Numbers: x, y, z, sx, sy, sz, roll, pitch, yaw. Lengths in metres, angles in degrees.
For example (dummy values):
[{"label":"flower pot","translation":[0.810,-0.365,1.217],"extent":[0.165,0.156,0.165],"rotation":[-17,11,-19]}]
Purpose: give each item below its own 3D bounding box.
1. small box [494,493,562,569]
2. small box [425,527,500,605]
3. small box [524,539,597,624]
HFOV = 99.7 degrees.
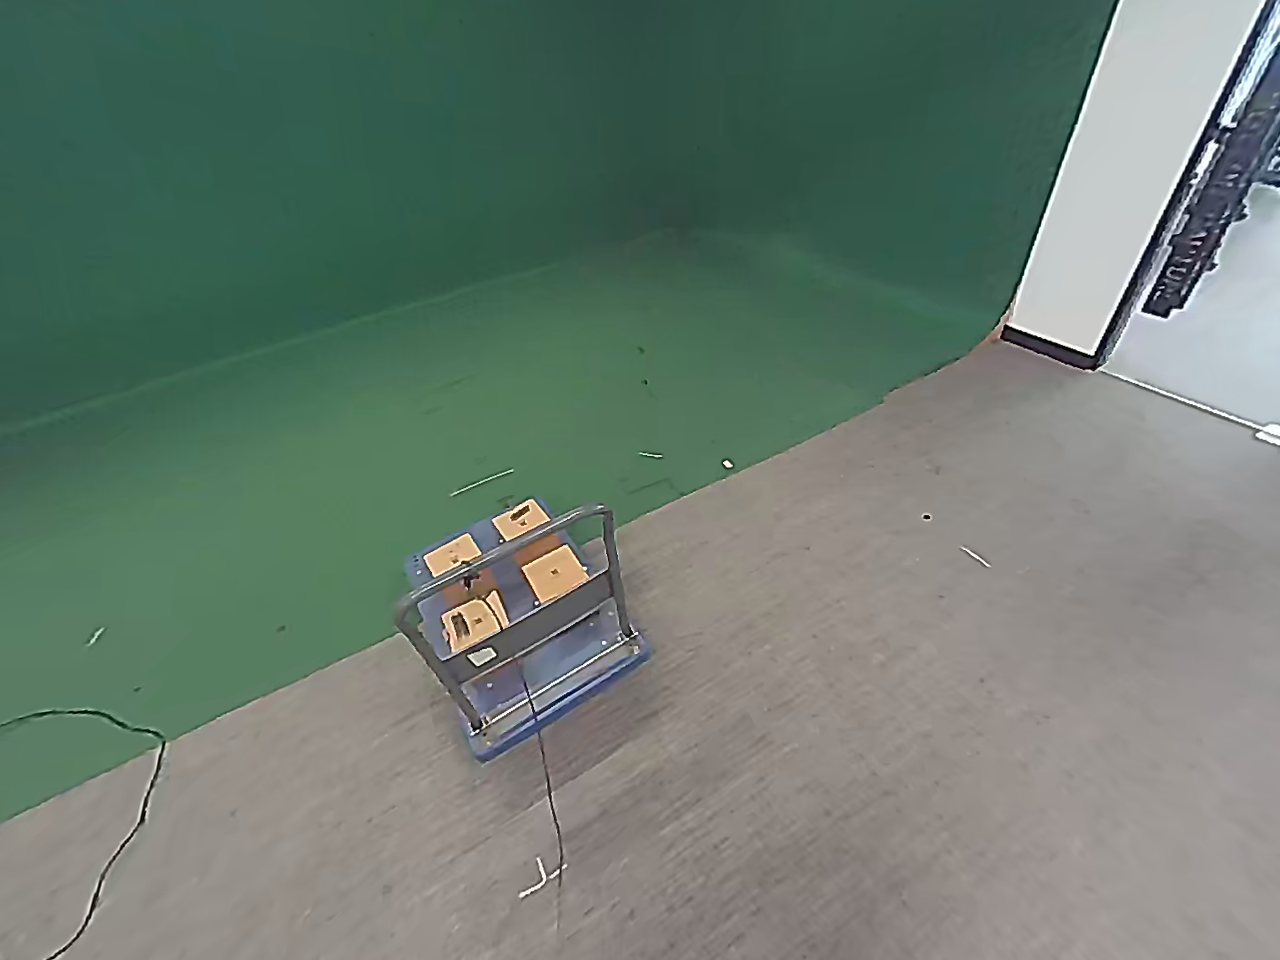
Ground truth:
[{"label":"small box","translation":[-0.394,0.185,1.931],"extent":[0.168,0.176,0.179],"rotation":[-30,48,-20]},{"label":"small box","translation":[-0.599,0.300,1.840],"extent":[0.168,0.176,0.179],"rotation":[-28,46,-21]},{"label":"small box","translation":[-0.256,0.331,1.752],"extent":[0.168,0.176,0.179],"rotation":[-25,46,-18]}]
